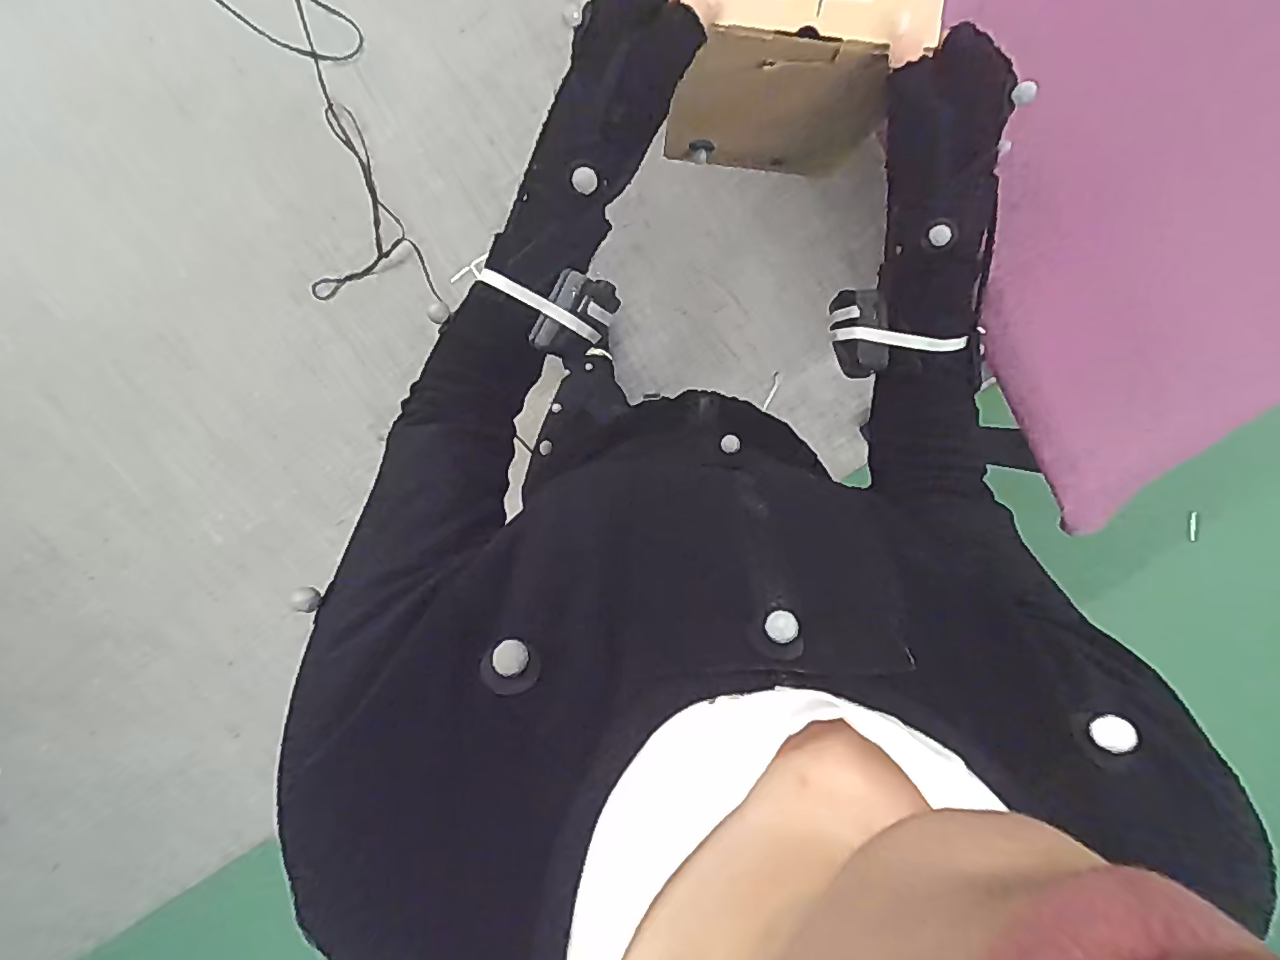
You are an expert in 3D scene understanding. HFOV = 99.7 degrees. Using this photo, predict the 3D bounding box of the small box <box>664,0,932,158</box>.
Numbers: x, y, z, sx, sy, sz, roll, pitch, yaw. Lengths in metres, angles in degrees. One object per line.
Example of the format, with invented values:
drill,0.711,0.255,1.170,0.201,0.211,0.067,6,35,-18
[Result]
small box,0.110,-0.379,0.413,0.168,0.176,0.179,6,94,-1
